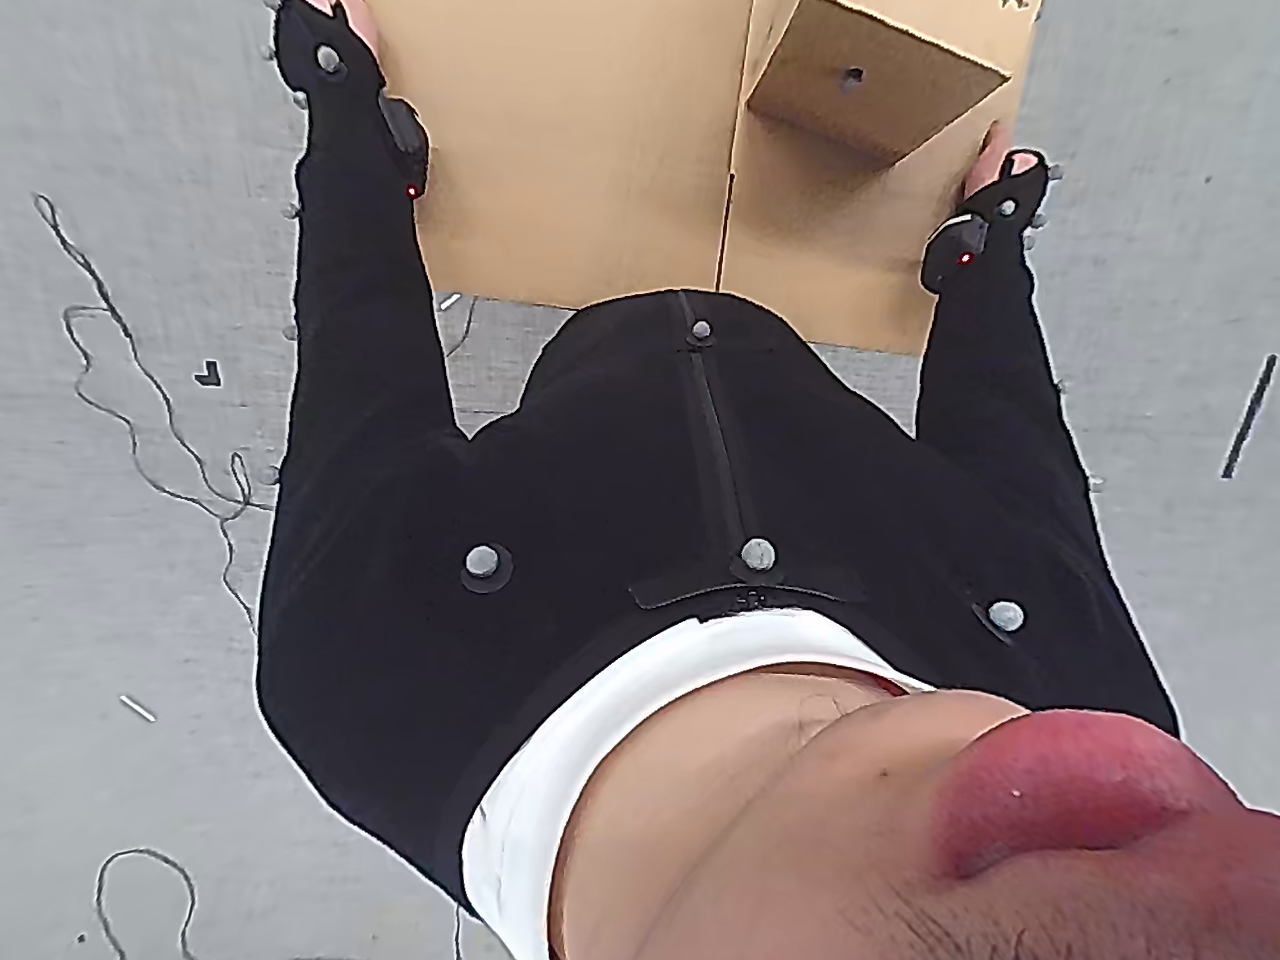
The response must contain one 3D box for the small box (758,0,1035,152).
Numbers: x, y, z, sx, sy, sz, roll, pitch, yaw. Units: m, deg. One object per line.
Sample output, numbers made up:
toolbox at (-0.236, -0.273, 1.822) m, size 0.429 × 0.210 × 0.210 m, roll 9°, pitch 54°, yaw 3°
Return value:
small box at (0.224, -0.429, 0.480) m, size 0.179 × 0.176 × 0.168 m, roll 16°, pitch 99°, yaw -6°
